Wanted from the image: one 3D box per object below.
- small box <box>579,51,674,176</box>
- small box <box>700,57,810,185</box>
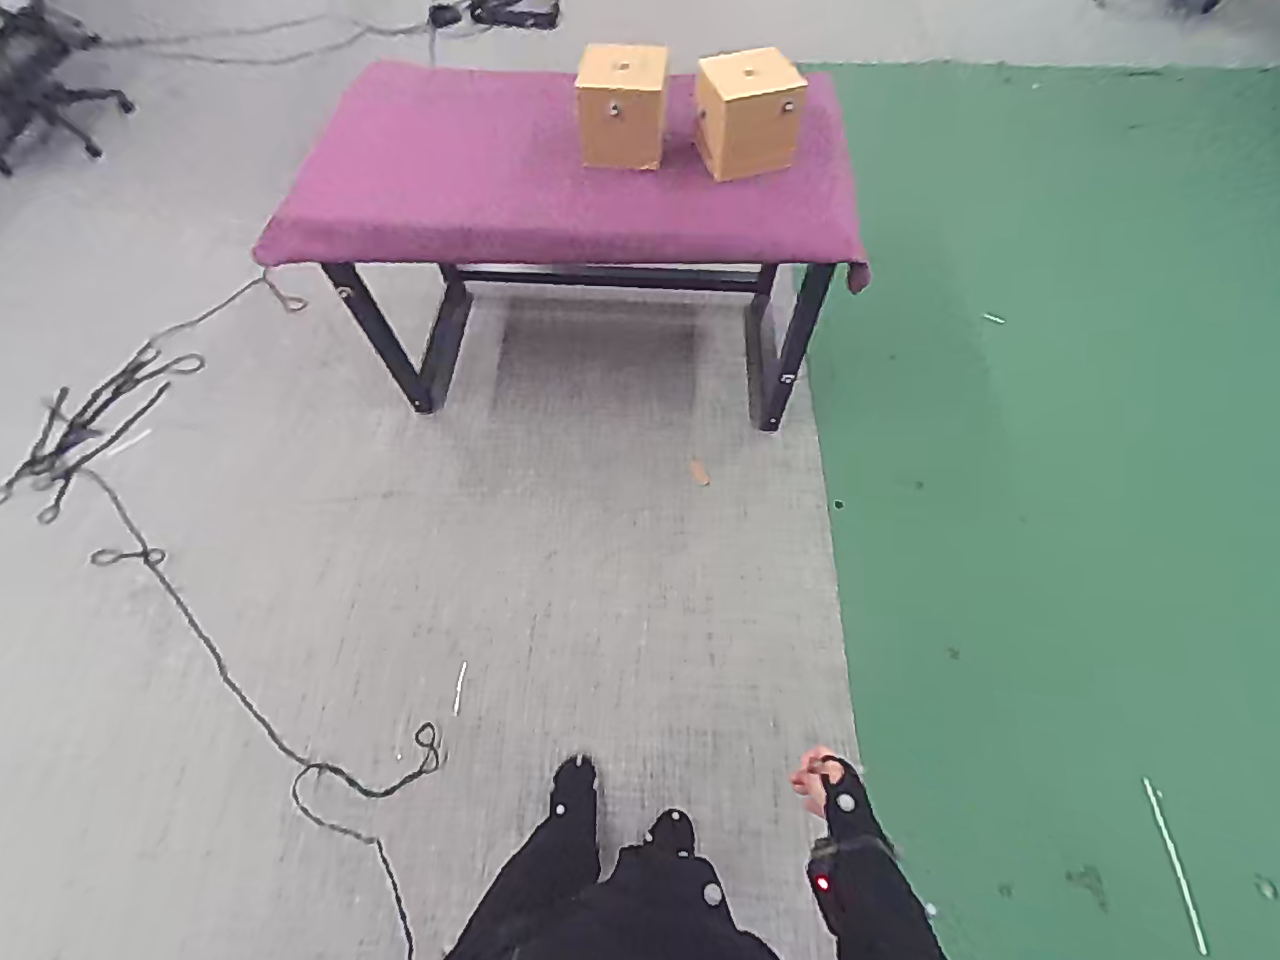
[{"bbox_3d":[-0.025,-0.788,1.171,0.179,0.176,0.168,7,62,3],"label":"small box"},{"bbox_3d":[0.232,-0.759,1.153,0.179,0.176,0.168,-14,62,-8],"label":"small box"}]
